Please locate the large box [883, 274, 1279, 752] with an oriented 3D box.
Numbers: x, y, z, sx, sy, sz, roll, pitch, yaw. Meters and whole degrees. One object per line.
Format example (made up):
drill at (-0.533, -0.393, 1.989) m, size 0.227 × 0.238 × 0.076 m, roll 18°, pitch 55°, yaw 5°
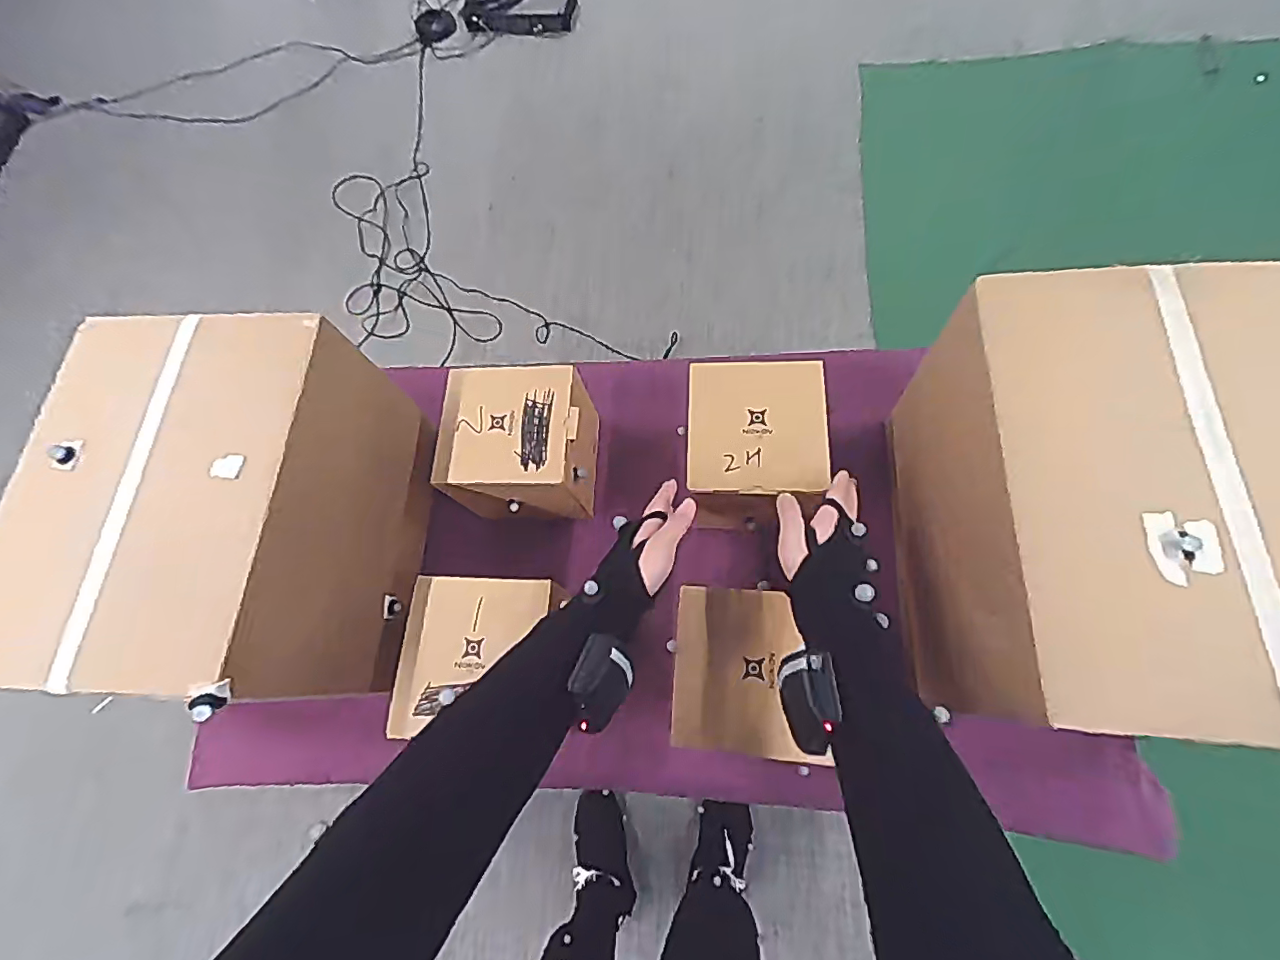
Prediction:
large box at (0.477, 0.047, 0.575) m, size 0.320 × 0.320 × 0.408 m, roll 1°, pitch 71°, yaw 9°
